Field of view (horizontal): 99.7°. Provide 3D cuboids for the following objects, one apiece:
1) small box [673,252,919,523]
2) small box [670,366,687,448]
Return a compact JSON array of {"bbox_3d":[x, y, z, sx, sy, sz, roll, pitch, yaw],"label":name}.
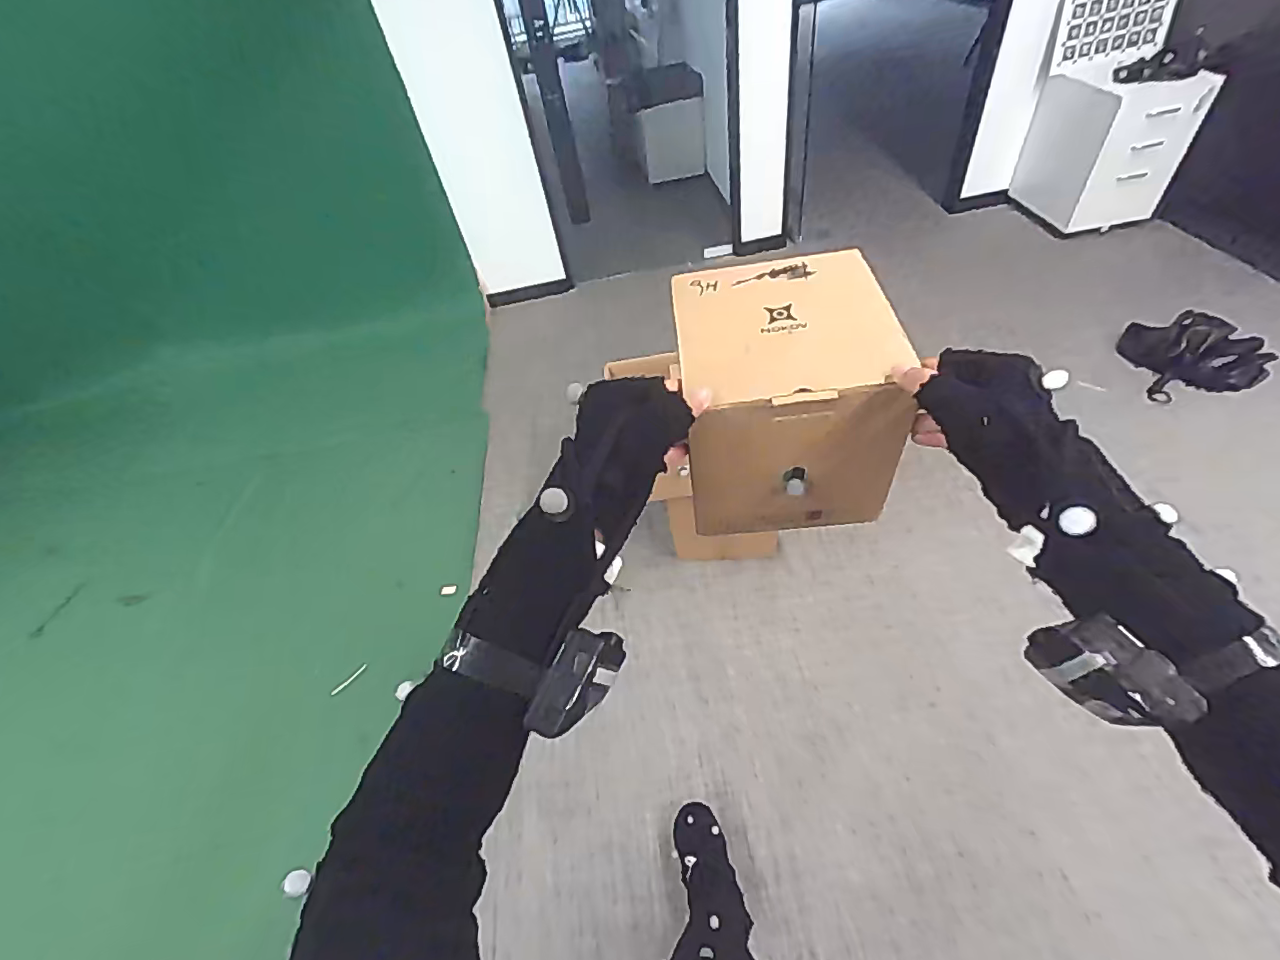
[{"bbox_3d":[0.122,-0.073,0.487,0.168,0.176,0.179,-6,51,6],"label":"small box"},{"bbox_3d":[0.172,-0.198,1.465,0.168,0.176,0.179,-5,45,3],"label":"small box"}]
